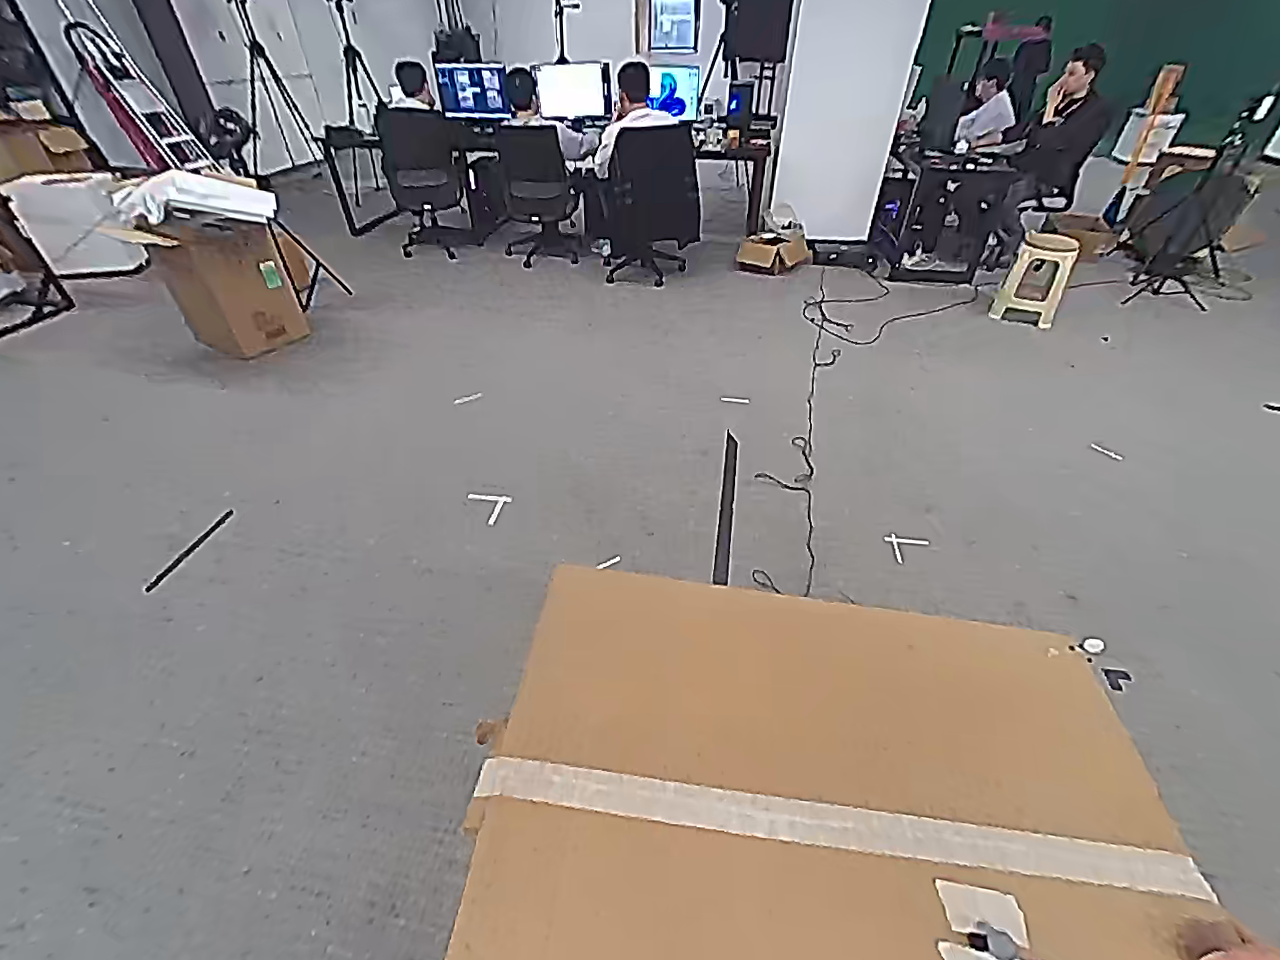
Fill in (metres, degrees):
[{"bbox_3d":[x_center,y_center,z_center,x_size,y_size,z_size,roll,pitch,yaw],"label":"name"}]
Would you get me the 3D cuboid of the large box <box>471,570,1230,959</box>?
[{"bbox_3d":[0.106,0.307,0.424,0.408,0.320,0.320,8,44,1],"label":"large box"}]
